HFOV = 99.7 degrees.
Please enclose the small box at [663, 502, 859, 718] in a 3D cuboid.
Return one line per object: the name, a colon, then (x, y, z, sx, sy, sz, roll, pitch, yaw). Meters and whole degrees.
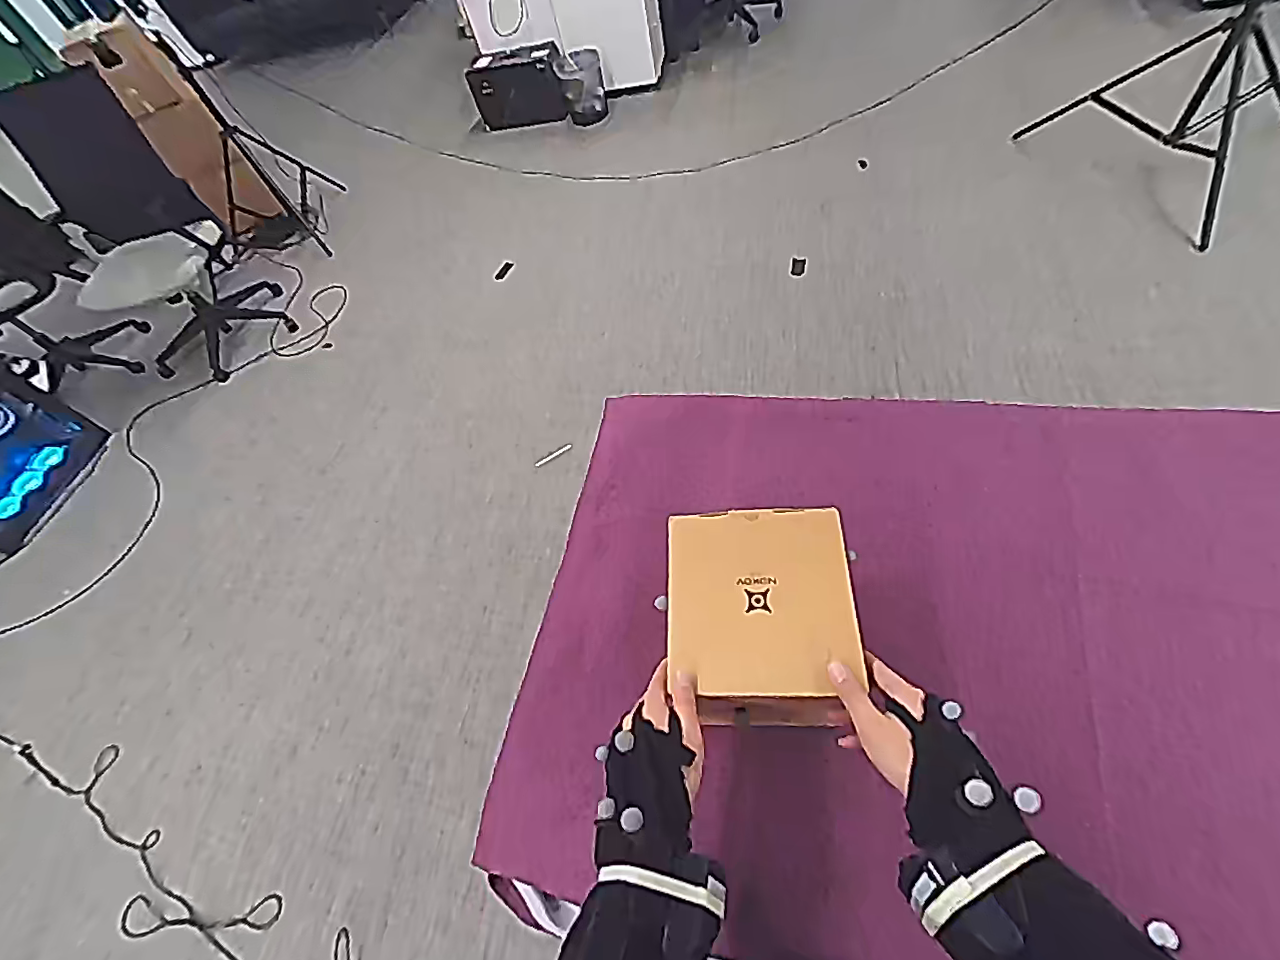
small box: (0.119, 0.143, 0.560, 0.168, 0.176, 0.179, -4, 56, 10)
